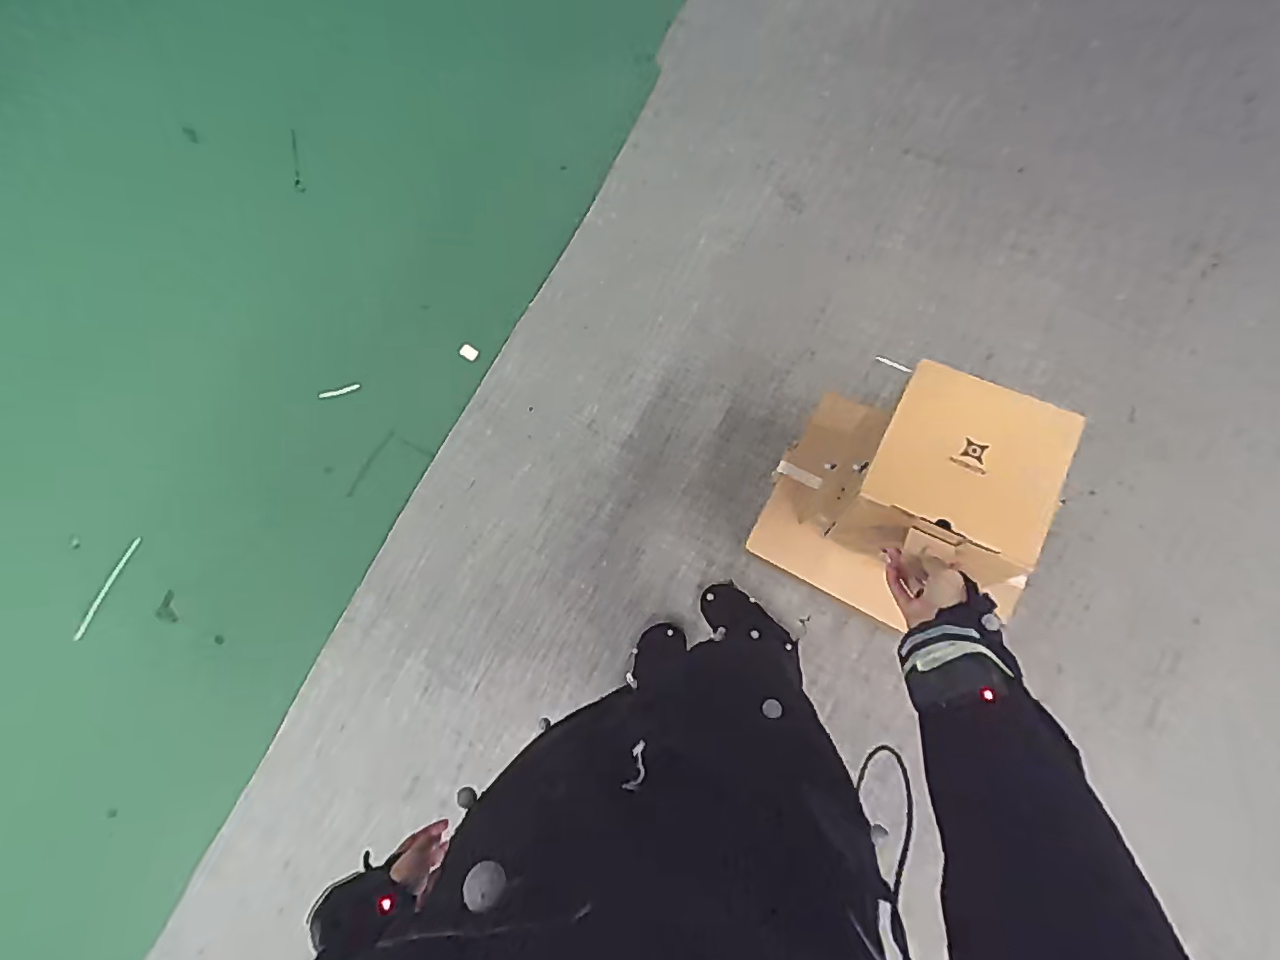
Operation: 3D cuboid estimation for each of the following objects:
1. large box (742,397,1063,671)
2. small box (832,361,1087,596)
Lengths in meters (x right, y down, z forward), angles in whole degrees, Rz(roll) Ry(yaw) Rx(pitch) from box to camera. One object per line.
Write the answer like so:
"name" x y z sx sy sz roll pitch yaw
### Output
"large box" 0.443 0.097 1.021 0.408 0.320 0.320 28 87 12
"small box" 0.336 0.007 0.604 0.168 0.176 0.179 27 74 15
